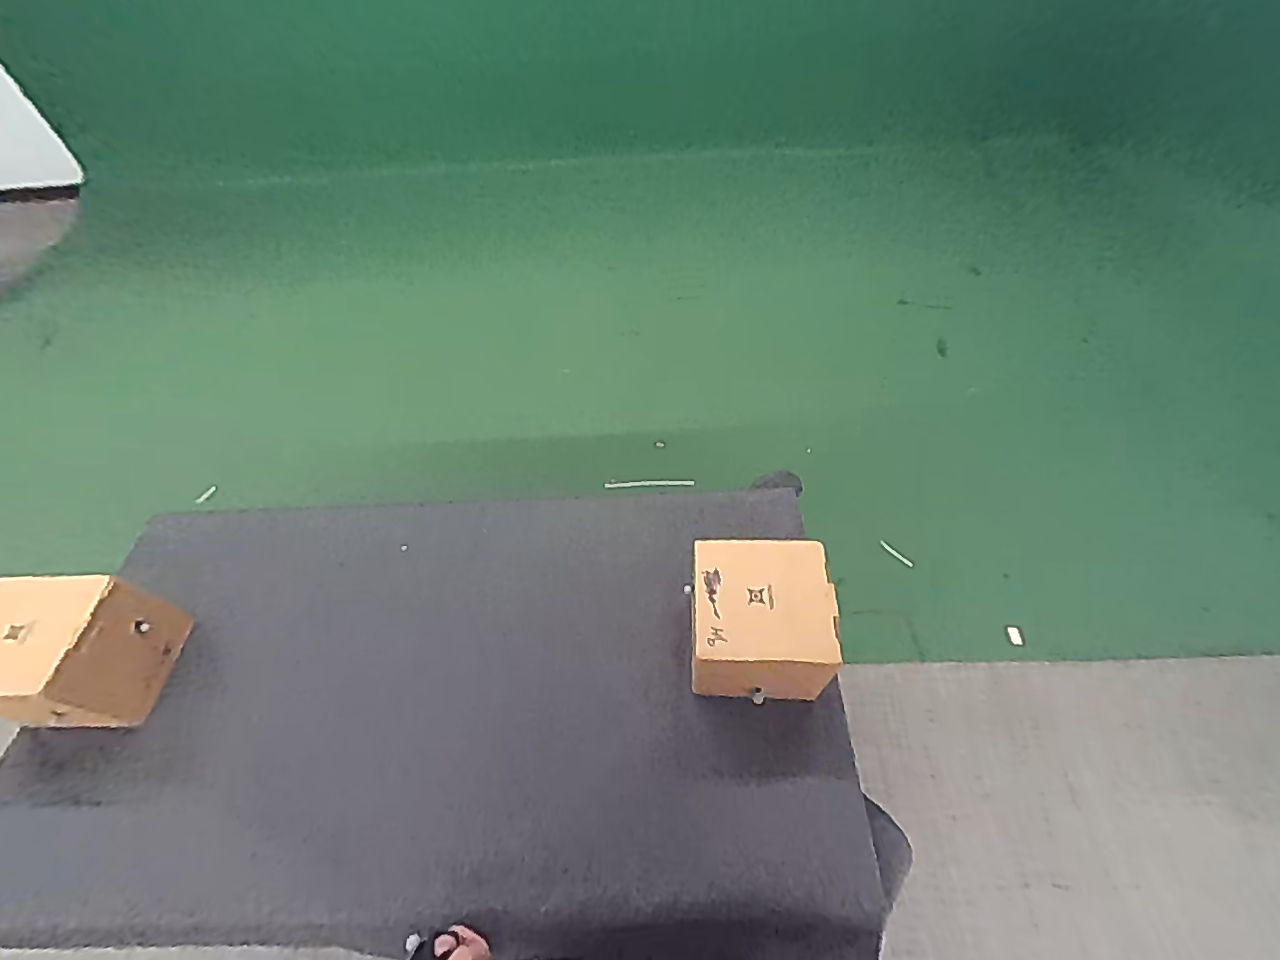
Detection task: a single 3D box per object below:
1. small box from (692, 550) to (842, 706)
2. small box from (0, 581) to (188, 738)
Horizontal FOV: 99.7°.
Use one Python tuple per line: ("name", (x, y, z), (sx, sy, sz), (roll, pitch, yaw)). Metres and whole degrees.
("small box", (0.164, 0.212, 0.762), (0.179, 0.176, 0.168), (1, 54, 4))
("small box", (-0.814, 0.258, 0.770), (0.179, 0.176, 0.168), (0, 51, 3))
